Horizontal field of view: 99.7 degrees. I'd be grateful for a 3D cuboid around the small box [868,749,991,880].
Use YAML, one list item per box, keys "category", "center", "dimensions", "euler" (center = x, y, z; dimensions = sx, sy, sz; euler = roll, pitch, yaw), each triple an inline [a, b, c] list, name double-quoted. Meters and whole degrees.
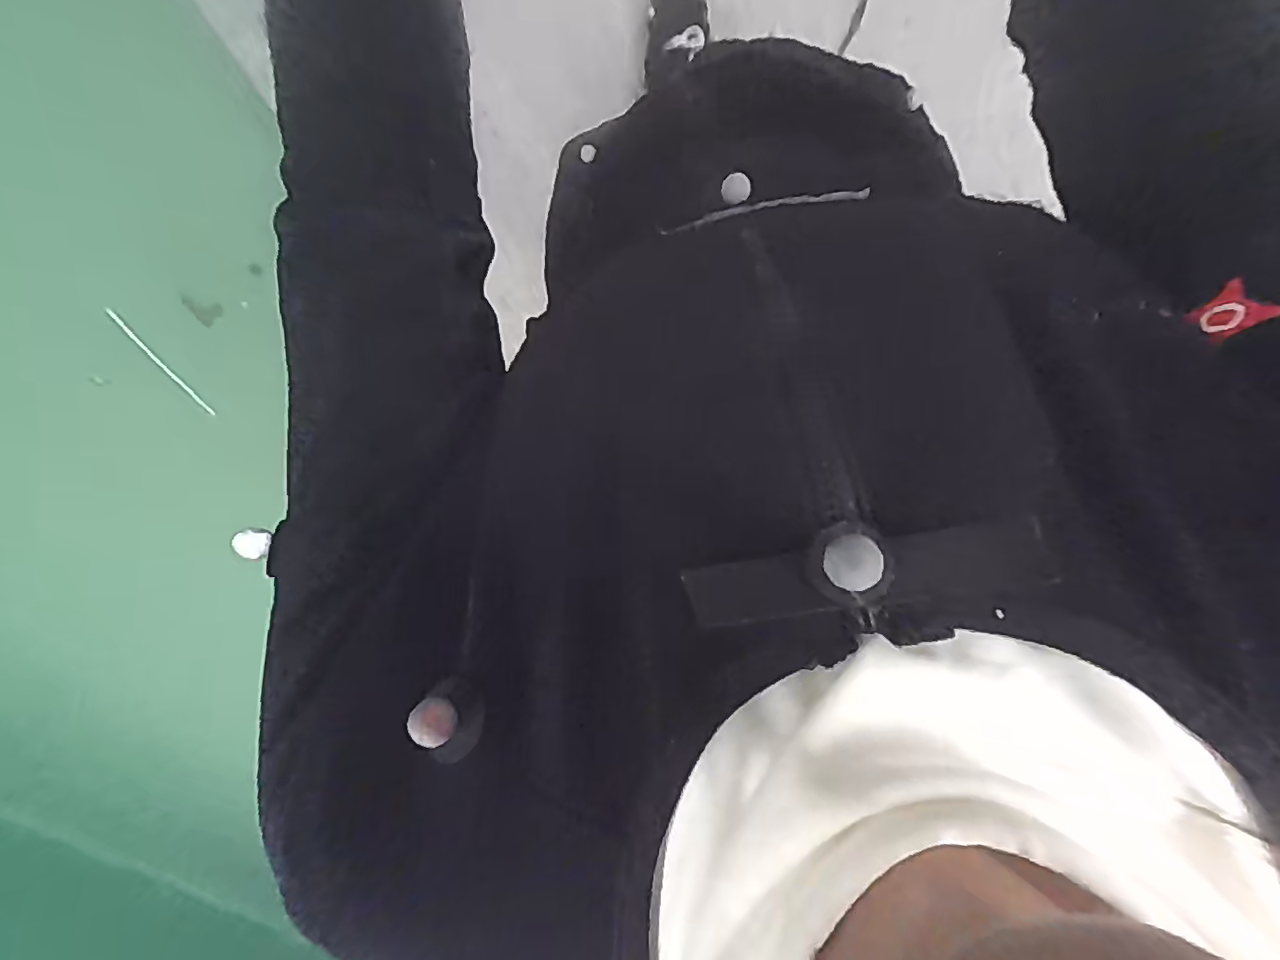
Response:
- category: "small box"
  center: [0.579, 0.676, 1.096]
  dimensions: [0.179, 0.176, 0.168]
  euler: [-18, 125, 12]
